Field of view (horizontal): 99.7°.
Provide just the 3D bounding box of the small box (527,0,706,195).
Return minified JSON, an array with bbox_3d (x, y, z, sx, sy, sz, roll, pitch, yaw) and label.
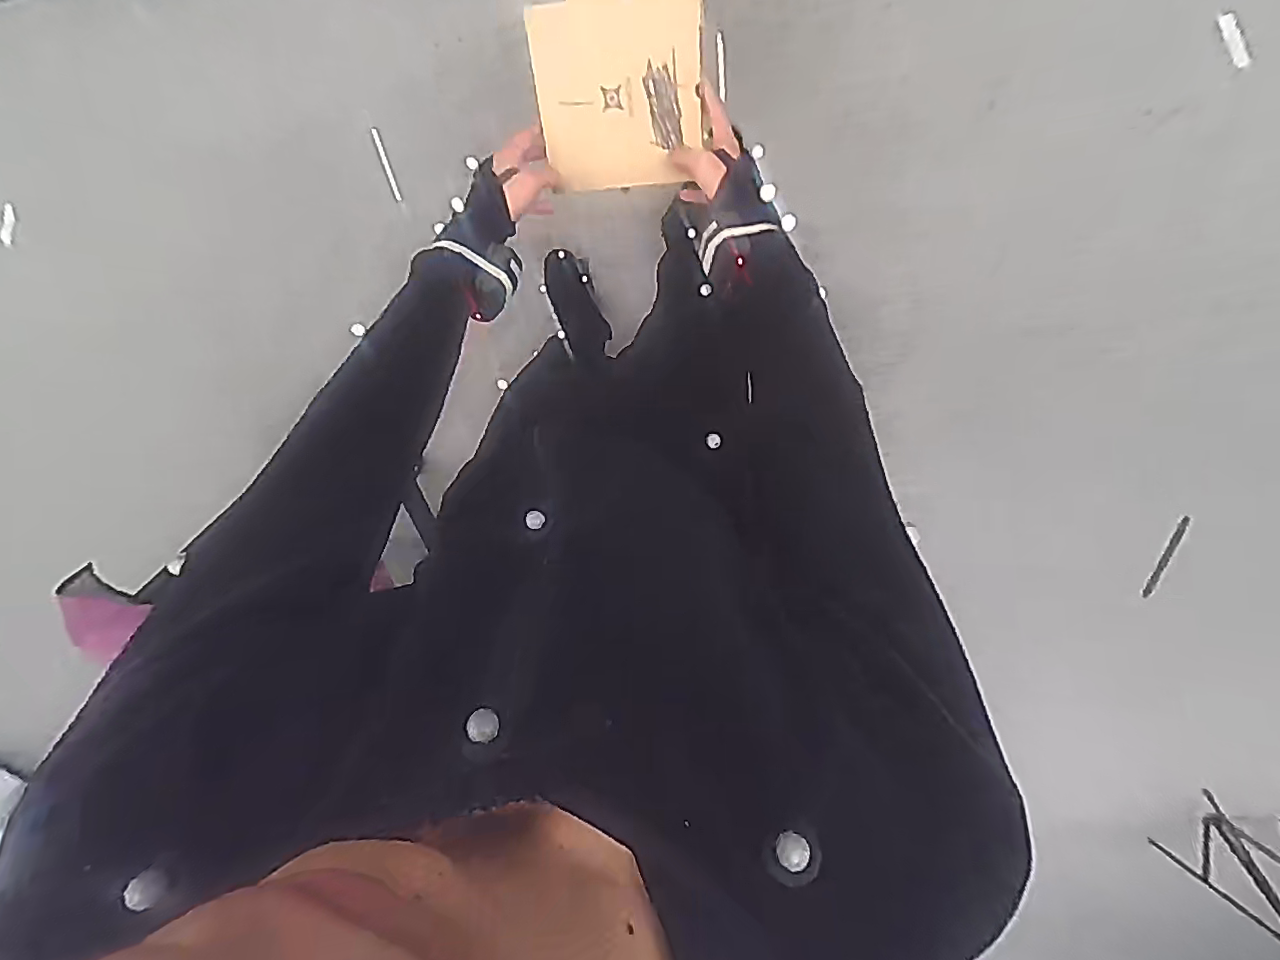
[{"bbox_3d":[-0.017,-0.444,0.633,0.179,0.176,0.168,-3,125,5],"label":"small box"}]
